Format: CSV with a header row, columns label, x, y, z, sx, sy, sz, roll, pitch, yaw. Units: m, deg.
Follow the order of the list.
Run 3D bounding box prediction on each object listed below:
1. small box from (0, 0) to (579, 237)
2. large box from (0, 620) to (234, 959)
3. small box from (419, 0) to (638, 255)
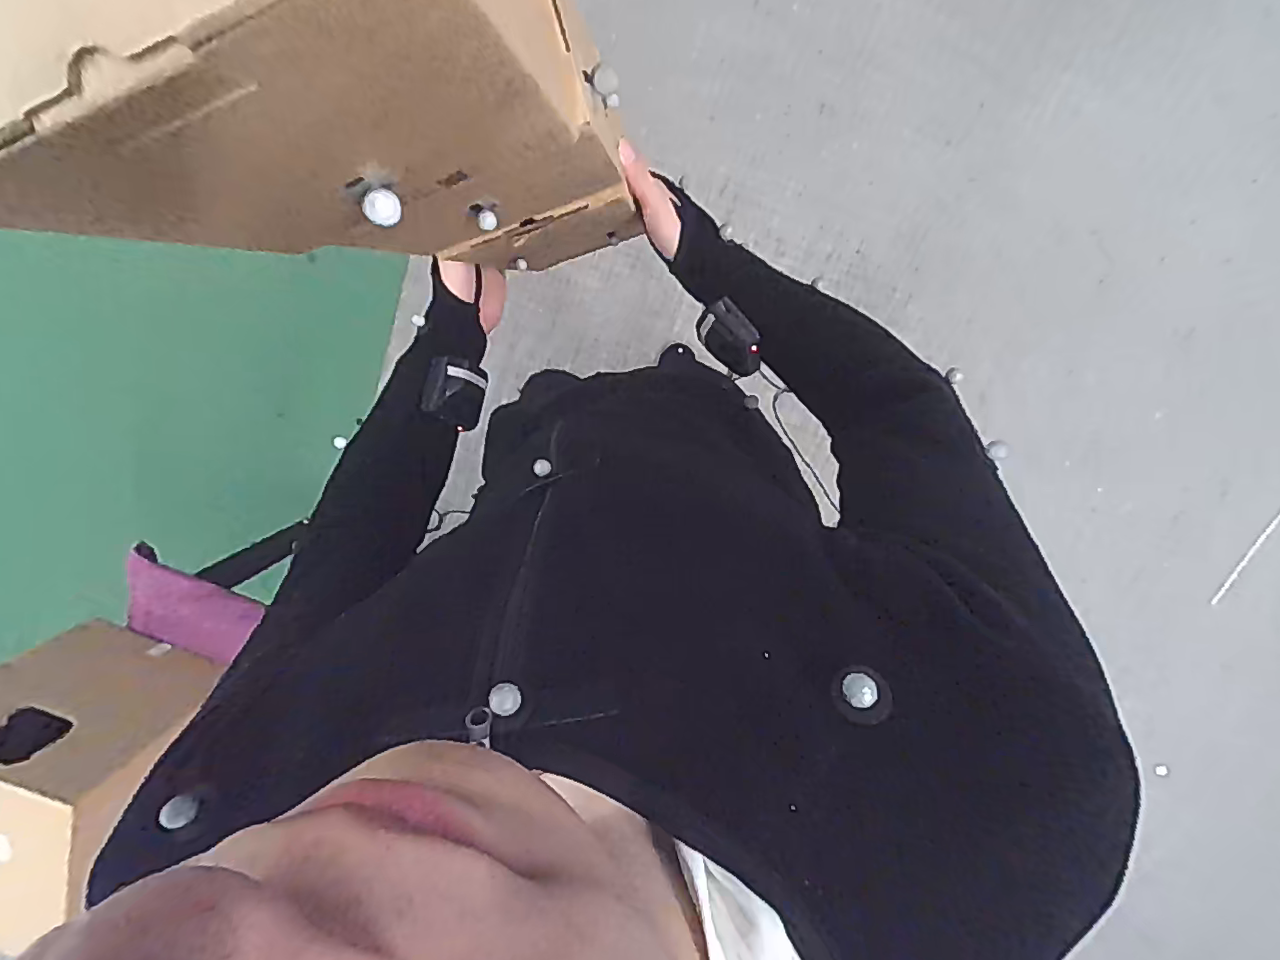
label,x,y,z,sx,sy,sz,roll,pitch,yaw
small box,-0.132,-0.195,0.168,0.168,0.176,0.179,-15,108,10
large box,-1.021,0.543,0.982,0.320,0.320,0.408,22,107,-2
small box,-0.103,-0.309,0.475,0.168,0.176,0.179,-14,108,8
